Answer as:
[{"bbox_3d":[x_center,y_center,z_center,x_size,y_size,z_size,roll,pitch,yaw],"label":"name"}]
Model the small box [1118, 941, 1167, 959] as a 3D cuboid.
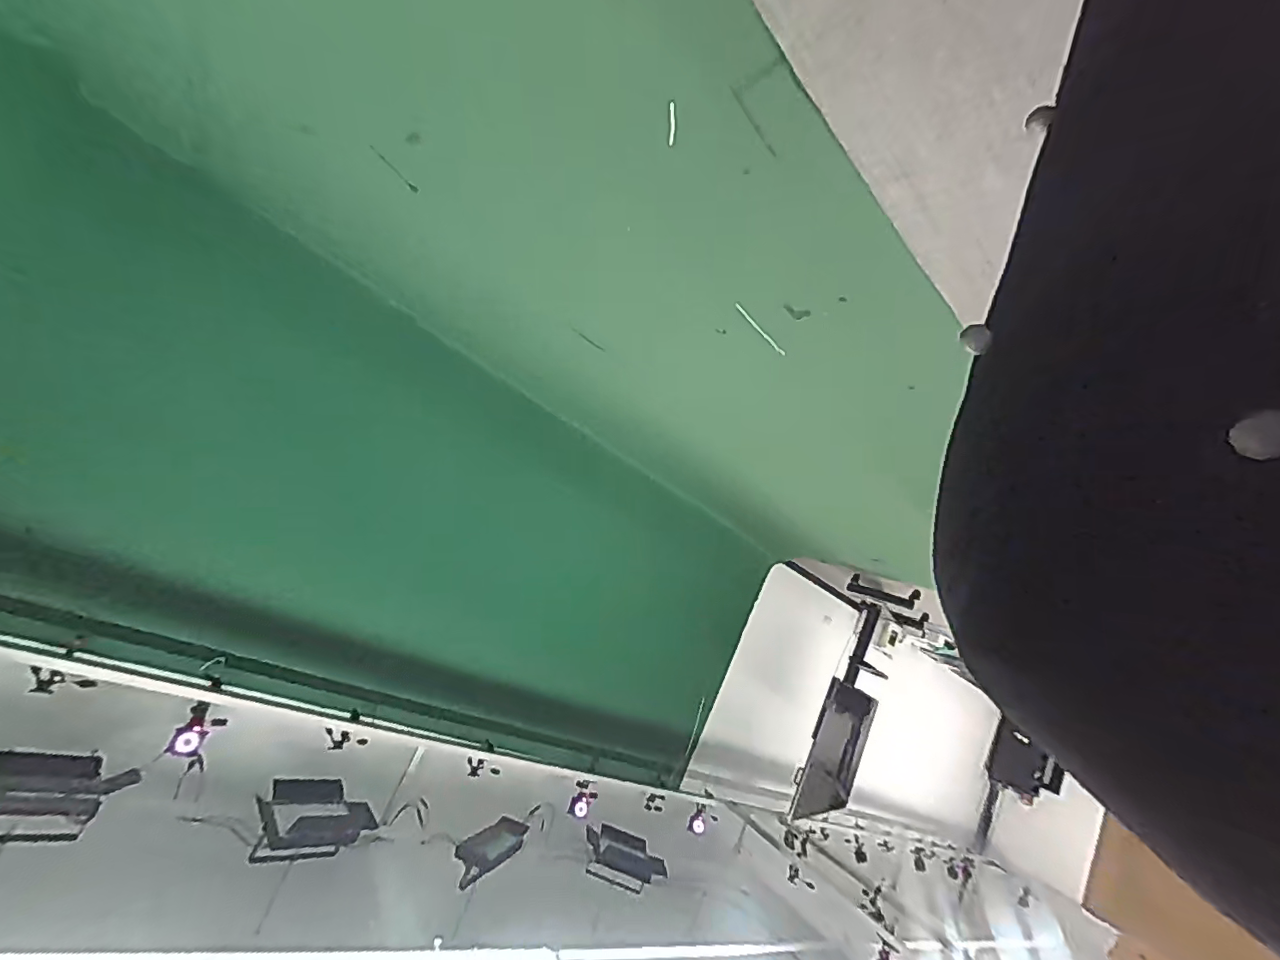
[{"bbox_3d":[1.505,1.486,1.570,0.179,0.176,0.168,33,168,-31],"label":"small box"}]
